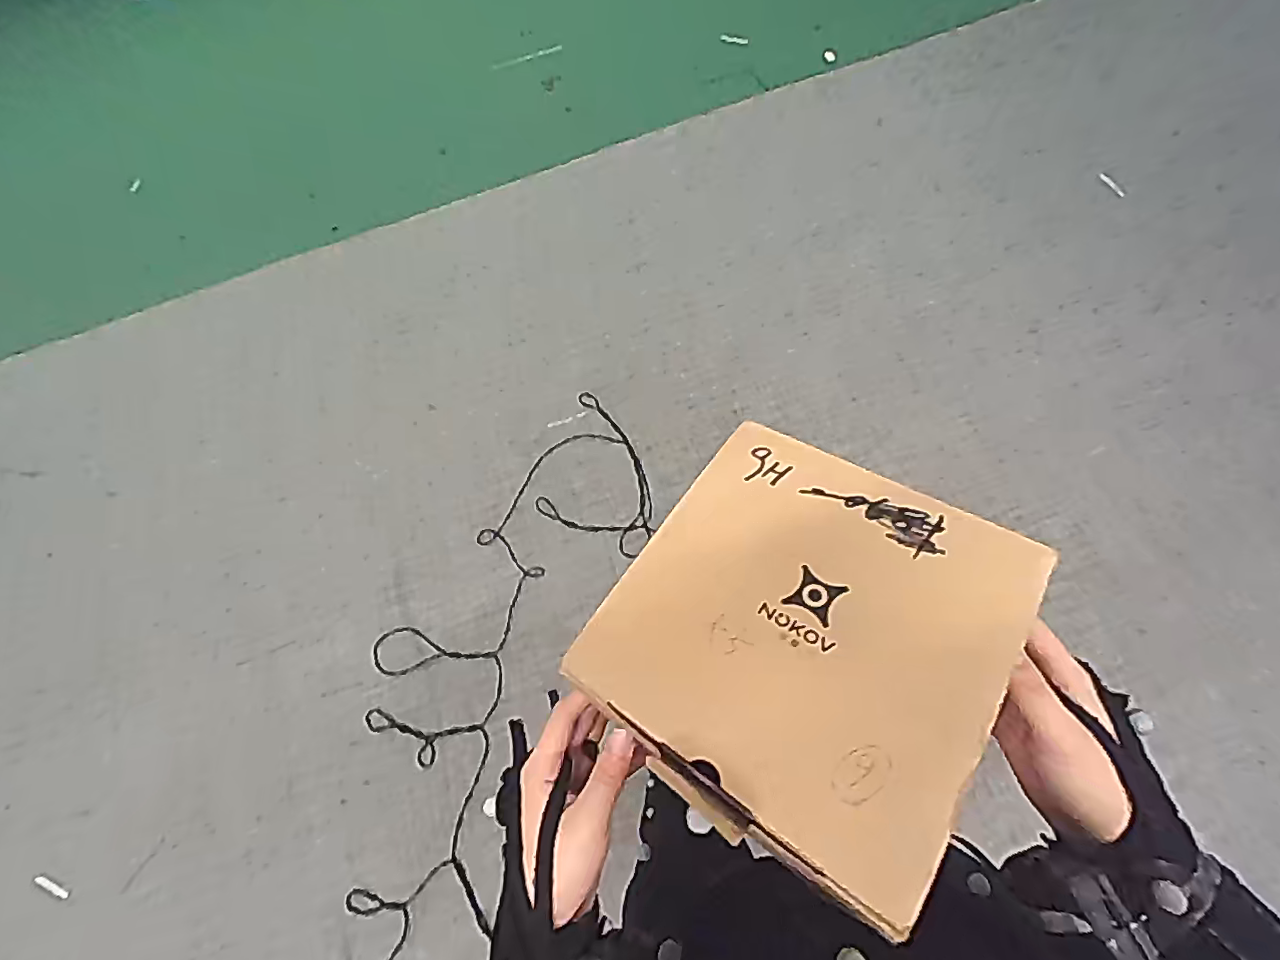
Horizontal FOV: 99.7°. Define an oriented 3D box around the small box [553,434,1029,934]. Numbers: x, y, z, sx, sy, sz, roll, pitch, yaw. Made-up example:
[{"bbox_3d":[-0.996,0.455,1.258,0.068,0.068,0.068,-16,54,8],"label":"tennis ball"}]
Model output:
[{"bbox_3d":[0.083,0.111,0.323,0.168,0.176,0.179,28,66,26],"label":"small box"}]
